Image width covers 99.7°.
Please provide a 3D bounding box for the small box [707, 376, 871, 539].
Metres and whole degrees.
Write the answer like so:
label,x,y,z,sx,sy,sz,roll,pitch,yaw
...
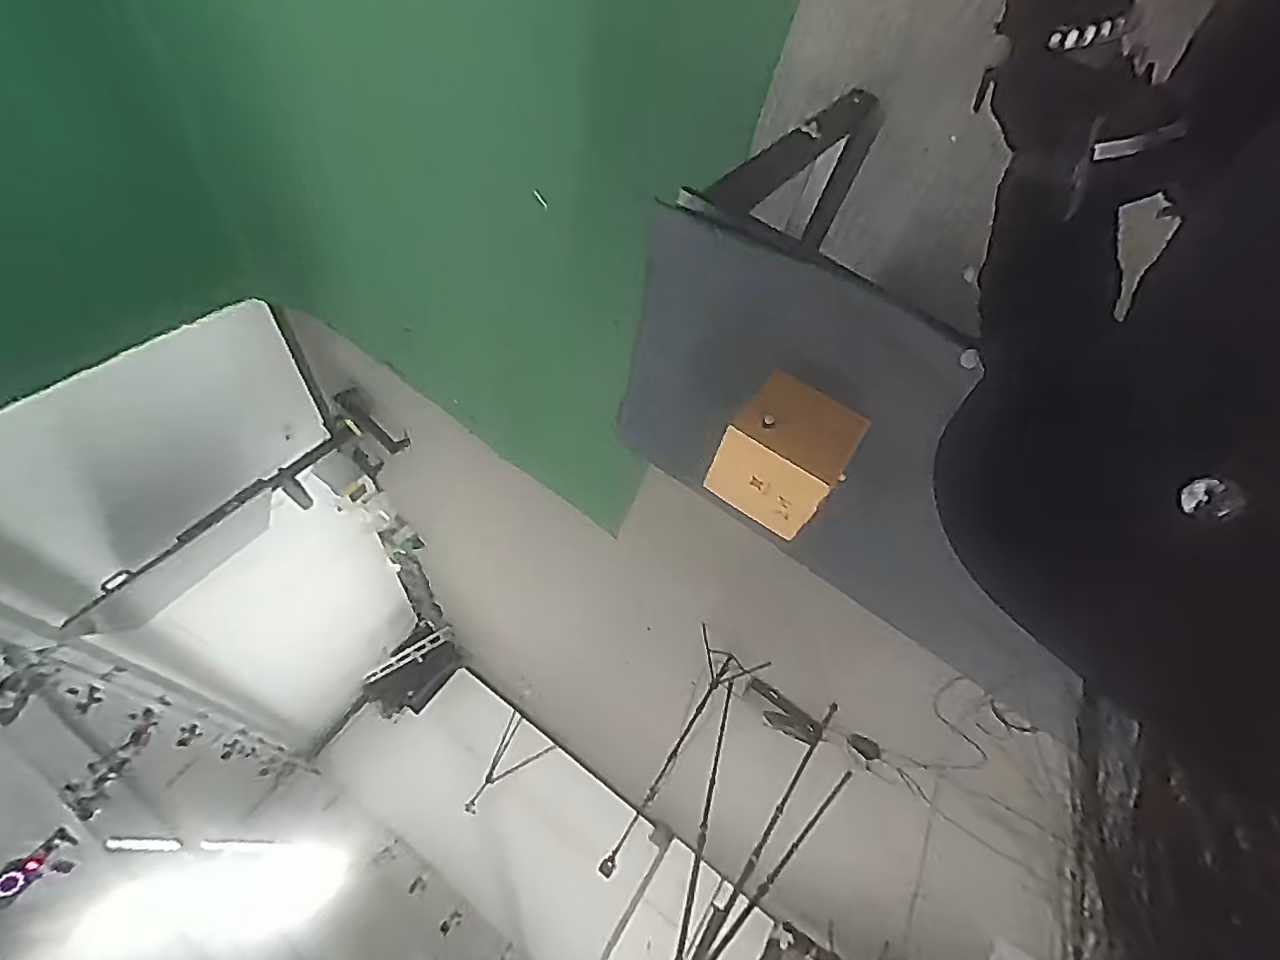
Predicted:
label,x,y,z,sx,sy,sz,roll,pitch,yaw
small box,0.240,-0.044,0.885,0.179,0.176,0.168,33,146,13
